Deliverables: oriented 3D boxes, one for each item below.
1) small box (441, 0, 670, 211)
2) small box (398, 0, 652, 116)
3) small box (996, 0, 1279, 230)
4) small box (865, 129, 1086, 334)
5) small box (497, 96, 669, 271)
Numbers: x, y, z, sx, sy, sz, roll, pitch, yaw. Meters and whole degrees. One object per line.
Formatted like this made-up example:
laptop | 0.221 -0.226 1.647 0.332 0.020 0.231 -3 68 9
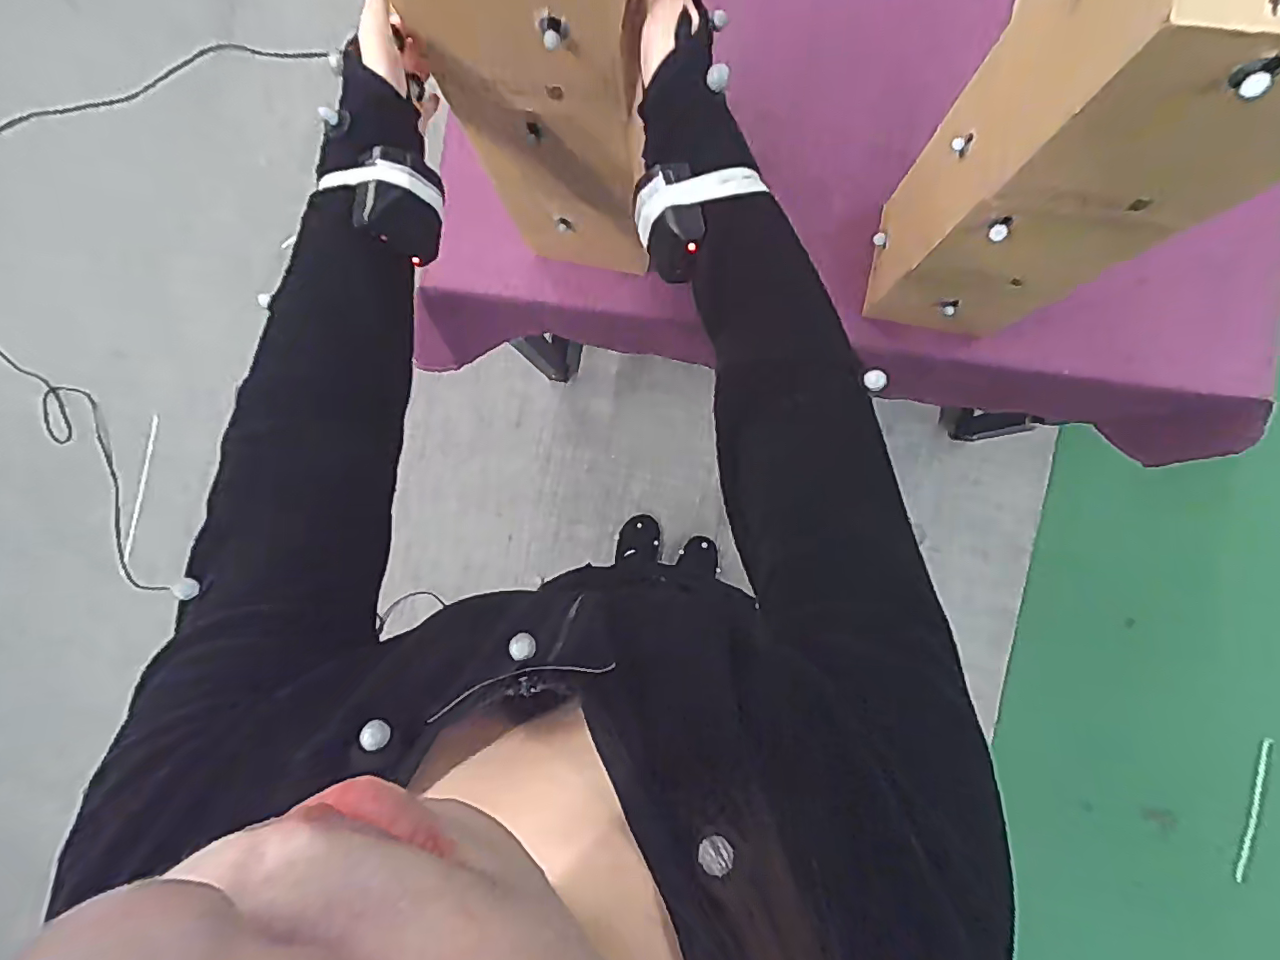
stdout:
small box | -0.069 -0.403 0.552 0.179 0.176 0.168 12 89 5
small box | -0.078 -0.405 0.389 0.168 0.176 0.179 10 88 4
small box | 0.369 -0.298 0.353 0.168 0.176 0.179 9 87 5
small box | 0.411 -0.296 0.680 0.179 0.176 0.168 12 89 5
small box | -0.063 -0.399 0.715 0.179 0.176 0.168 13 90 4
